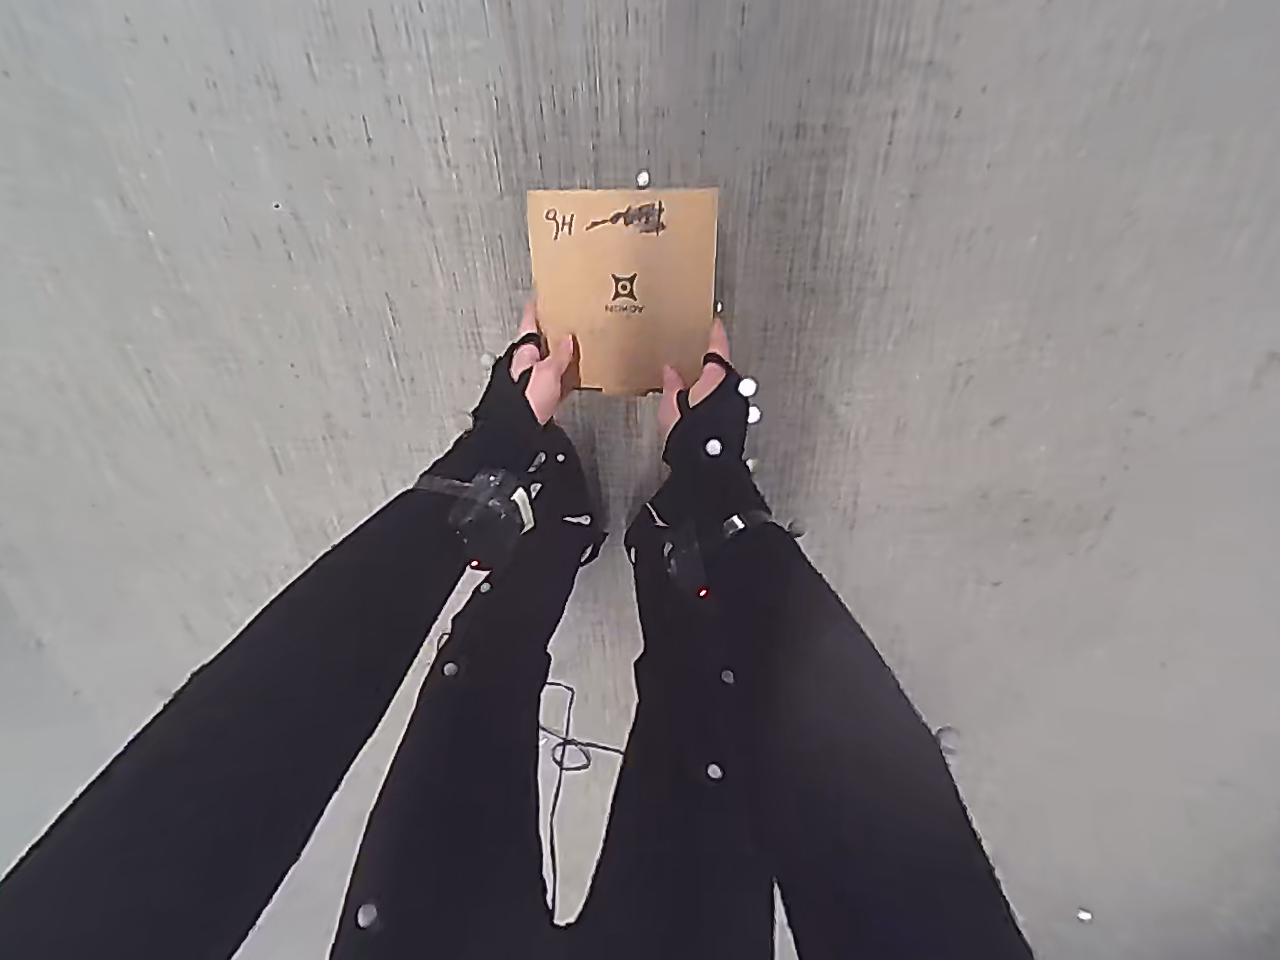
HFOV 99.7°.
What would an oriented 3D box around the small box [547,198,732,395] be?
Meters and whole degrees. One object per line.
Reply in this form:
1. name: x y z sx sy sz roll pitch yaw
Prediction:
1. small box: 0.006 -0.198 0.578 0.168 0.176 0.179 -1 114 4
